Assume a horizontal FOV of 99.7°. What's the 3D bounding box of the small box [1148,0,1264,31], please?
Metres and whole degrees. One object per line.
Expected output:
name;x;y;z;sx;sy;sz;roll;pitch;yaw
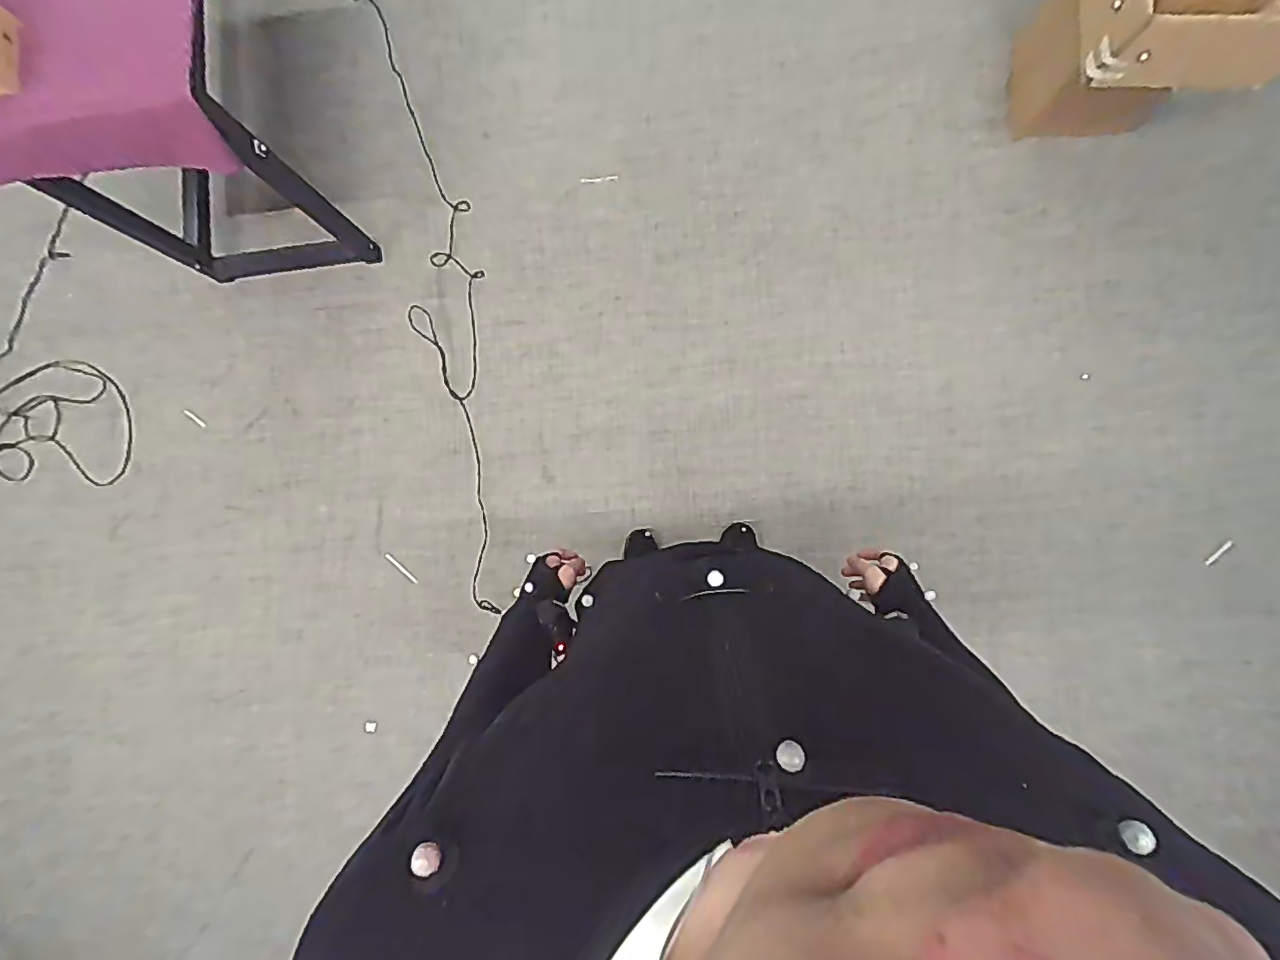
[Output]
small box;1.229;-1.086;1.127;0.179;0.176;0.168;8;87;5
